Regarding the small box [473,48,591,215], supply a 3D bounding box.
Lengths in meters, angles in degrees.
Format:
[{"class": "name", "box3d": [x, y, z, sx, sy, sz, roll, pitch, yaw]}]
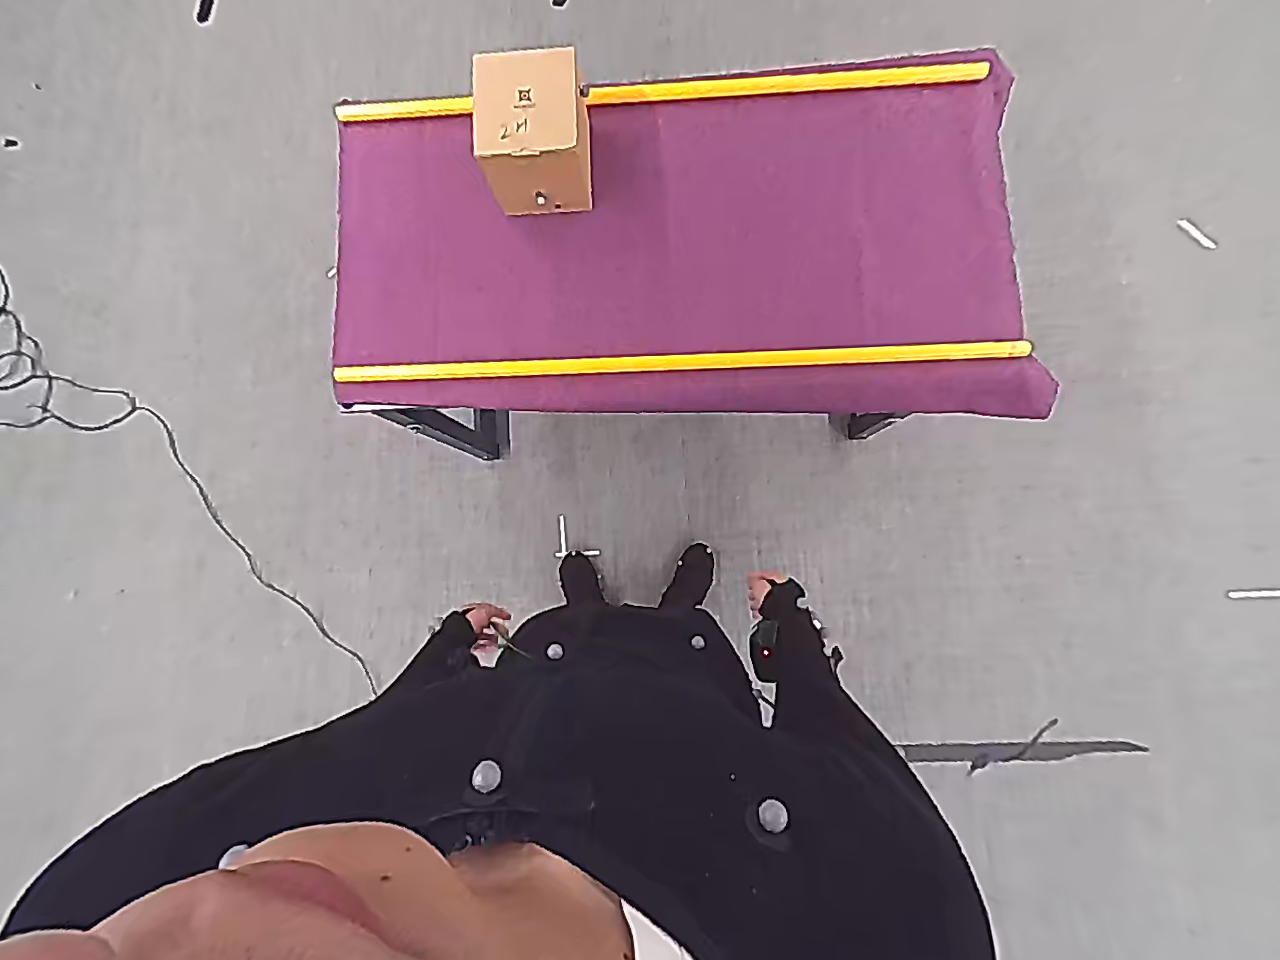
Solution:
[{"class": "small box", "box3d": [-0.178, -0.590, 0.932, 0.168, 0.176, 0.179, -2, 85, 3]}]
